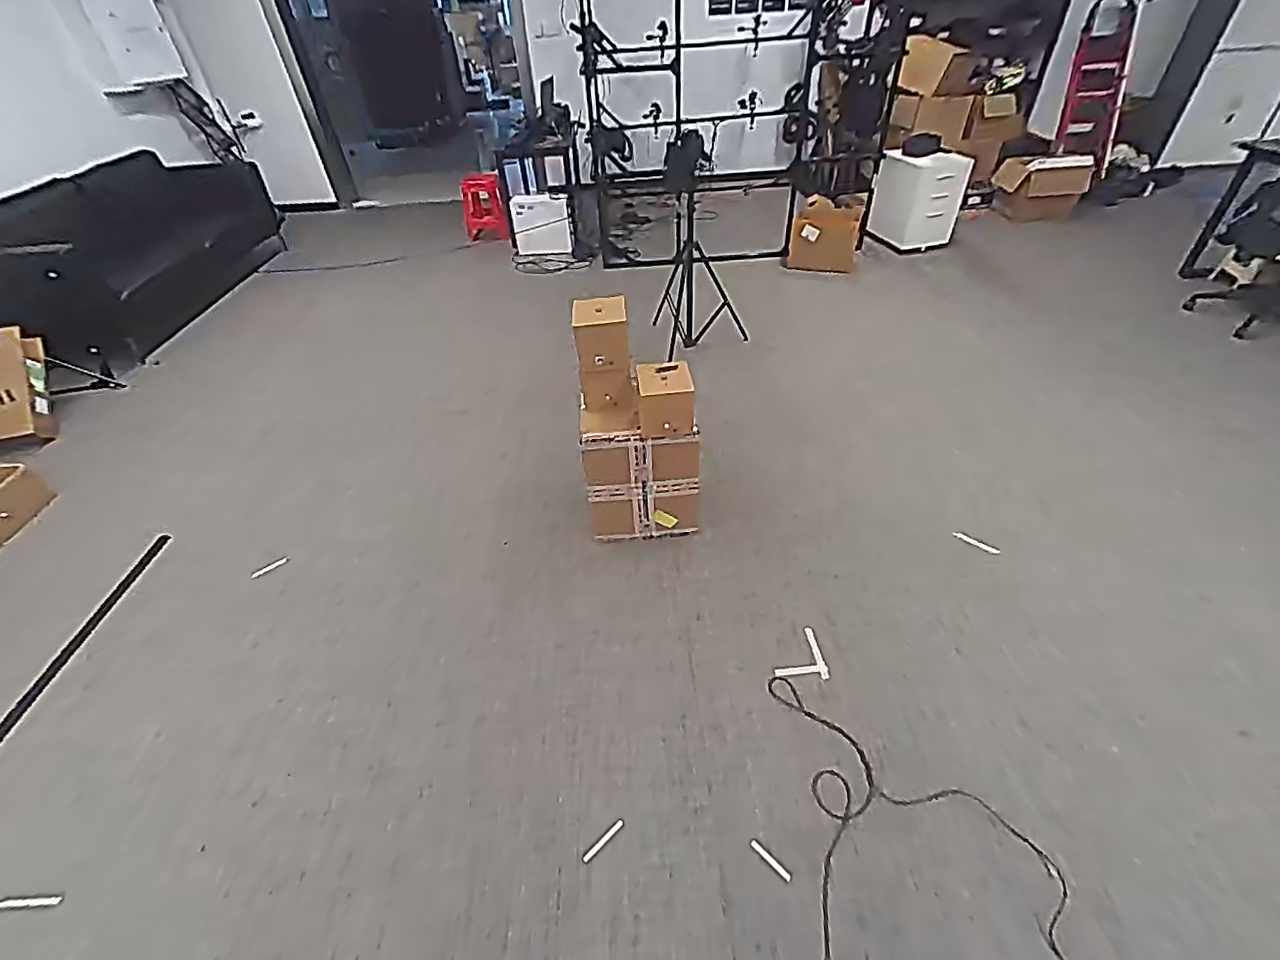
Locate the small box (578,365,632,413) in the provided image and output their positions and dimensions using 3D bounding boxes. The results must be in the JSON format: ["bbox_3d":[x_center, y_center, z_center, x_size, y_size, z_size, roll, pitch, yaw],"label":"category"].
[{"bbox_3d":[-0.117,-0.352,1.856,0.168,0.176,0.179,-6,43,0],"label":"small box"}]

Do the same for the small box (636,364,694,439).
[{"bbox_3d":[0.076,-0.251,1.731,0.168,0.176,0.179,-6,44,-2],"label":"small box"}]

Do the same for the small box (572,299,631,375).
[{"bbox_3d":[-0.121,-0.457,1.730,0.168,0.176,0.179,-6,44,0],"label":"small box"}]
